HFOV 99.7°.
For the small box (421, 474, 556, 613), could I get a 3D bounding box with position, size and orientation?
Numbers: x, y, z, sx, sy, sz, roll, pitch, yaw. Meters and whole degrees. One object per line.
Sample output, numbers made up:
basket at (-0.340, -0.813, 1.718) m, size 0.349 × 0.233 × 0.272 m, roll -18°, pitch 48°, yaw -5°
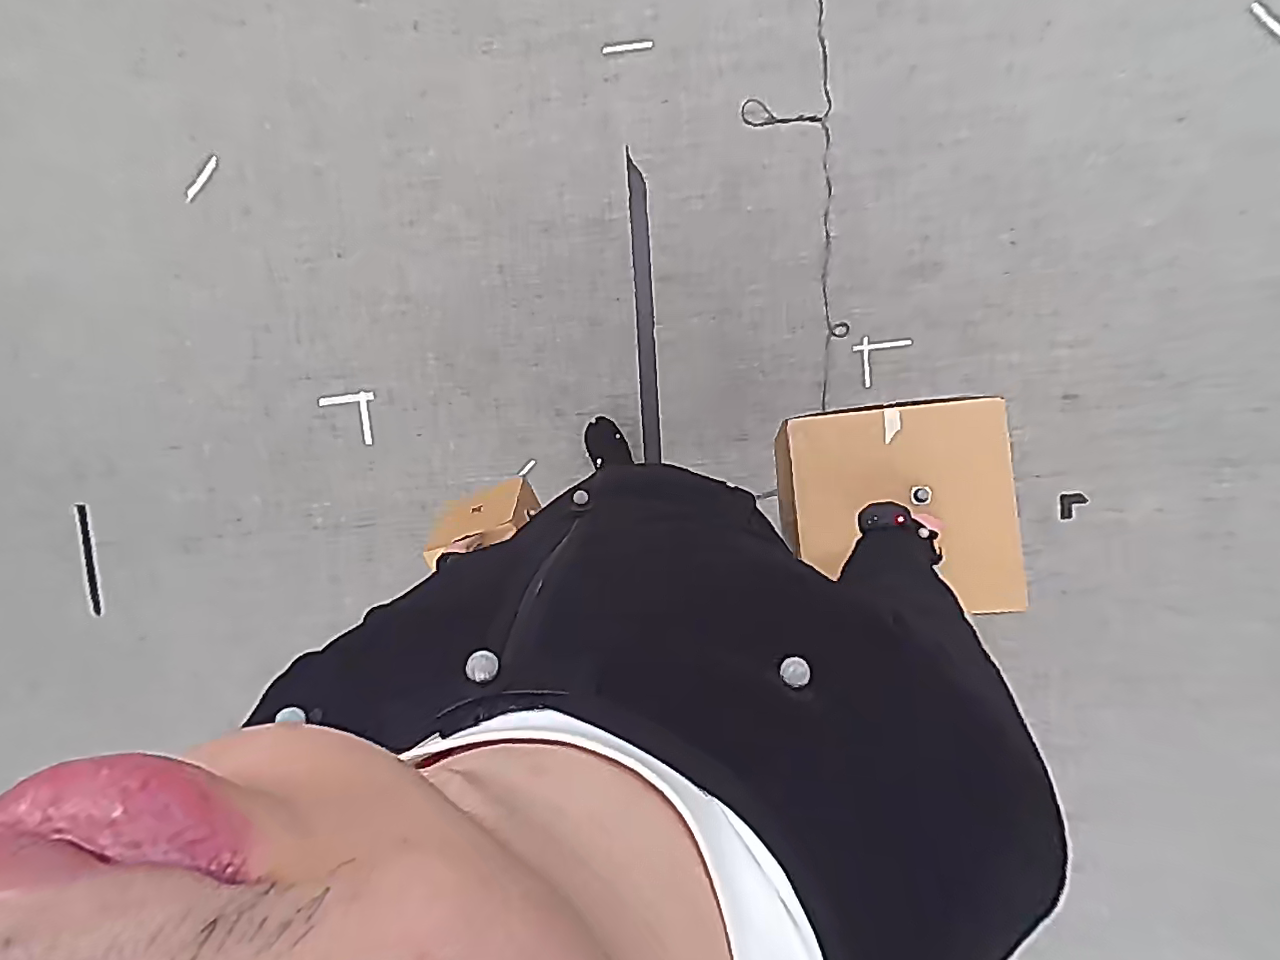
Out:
small box at (-0.265, 0.122, 0.993) m, size 0.168 × 0.179 × 0.176 m, roll -19°, pitch 118°, yaw 6°
